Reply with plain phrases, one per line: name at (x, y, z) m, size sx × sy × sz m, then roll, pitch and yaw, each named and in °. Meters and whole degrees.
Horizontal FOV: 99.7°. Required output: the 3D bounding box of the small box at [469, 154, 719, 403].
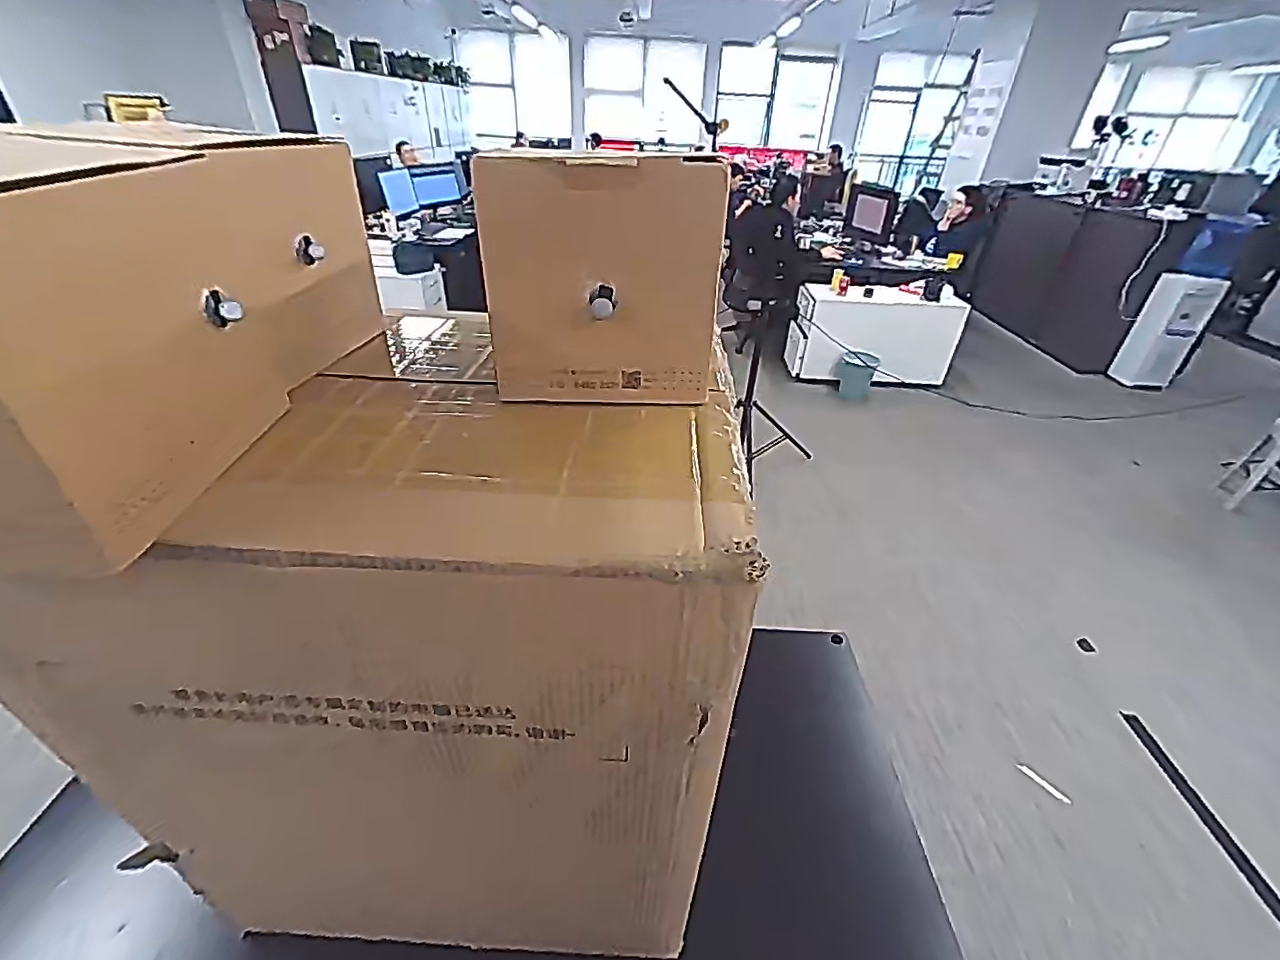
small box at (-0.029, -0.172, 0.456) m, size 0.168 × 0.176 × 0.179 m, roll 0°, pitch 33°, yaw -1°
